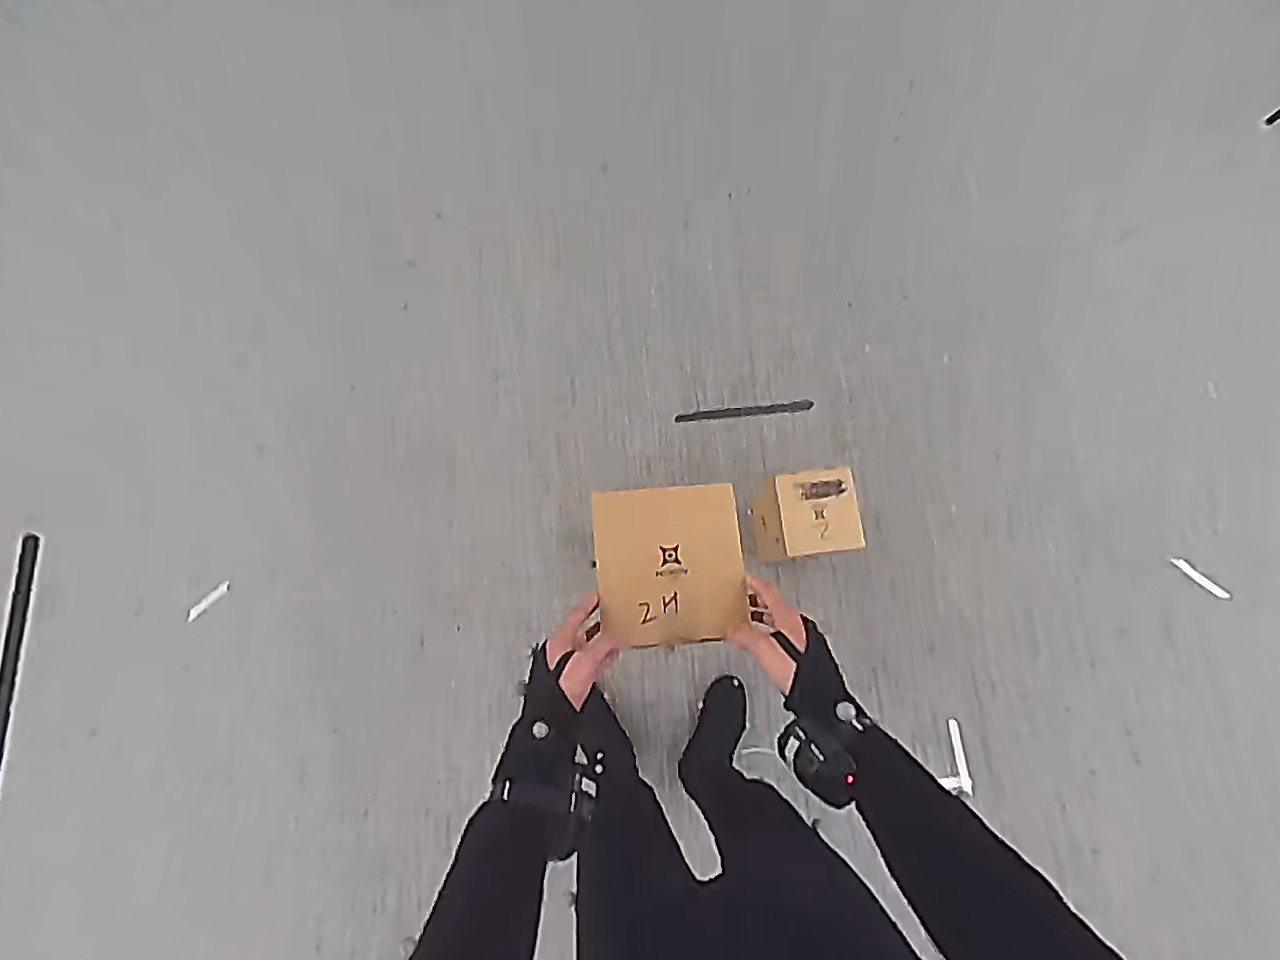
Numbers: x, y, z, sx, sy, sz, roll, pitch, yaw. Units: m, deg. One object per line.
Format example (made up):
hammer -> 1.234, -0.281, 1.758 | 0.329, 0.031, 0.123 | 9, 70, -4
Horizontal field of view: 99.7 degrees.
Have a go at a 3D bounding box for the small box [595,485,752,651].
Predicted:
small box -> 0.031, 0.114, 0.676 | 0.168, 0.176, 0.179 | -4, 76, -3

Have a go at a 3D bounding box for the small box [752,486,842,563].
small box -> 0.389, 0.118, 1.377 | 0.179, 0.176, 0.168 | -6, 78, 0
